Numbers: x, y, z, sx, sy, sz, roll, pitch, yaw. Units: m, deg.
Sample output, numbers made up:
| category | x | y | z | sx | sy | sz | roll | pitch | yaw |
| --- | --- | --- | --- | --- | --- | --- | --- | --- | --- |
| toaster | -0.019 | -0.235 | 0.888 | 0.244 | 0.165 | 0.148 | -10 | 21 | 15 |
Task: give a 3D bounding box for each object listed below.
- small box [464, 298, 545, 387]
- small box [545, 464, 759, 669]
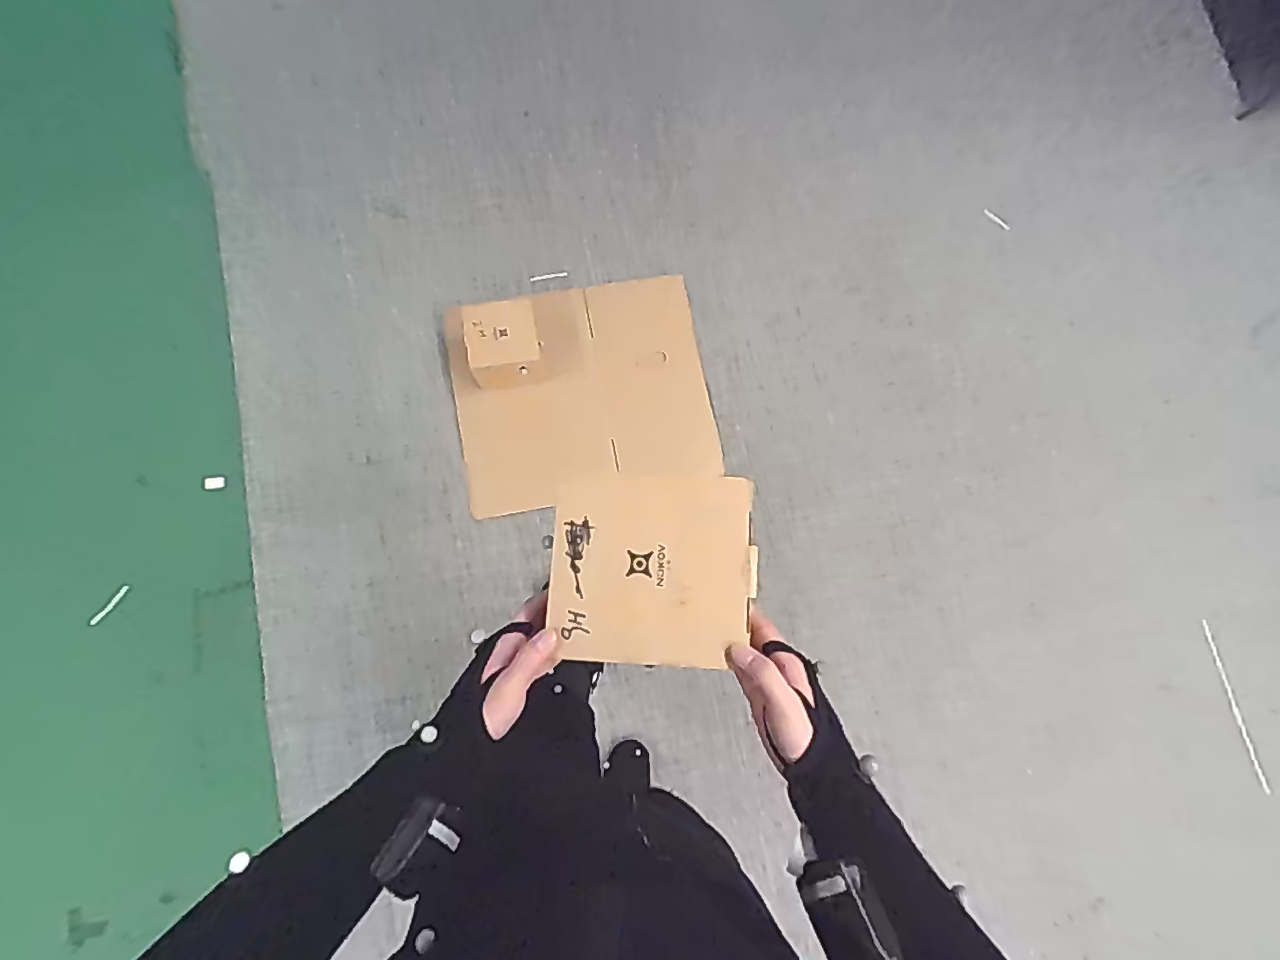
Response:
| category | x | y | z | sx | sy | sz | roll | pitch | yaw |
| --- | --- | --- | --- | --- | --- | --- | --- | --- | --- |
| small box | -0.346 | -0.354 | 1.411 | 0.179 | 0.176 | 0.168 | -9 | 82 | -5 |
| small box | 0.014 | 0.087 | 0.549 | 0.179 | 0.176 | 0.168 | 5 | 78 | 3 |
